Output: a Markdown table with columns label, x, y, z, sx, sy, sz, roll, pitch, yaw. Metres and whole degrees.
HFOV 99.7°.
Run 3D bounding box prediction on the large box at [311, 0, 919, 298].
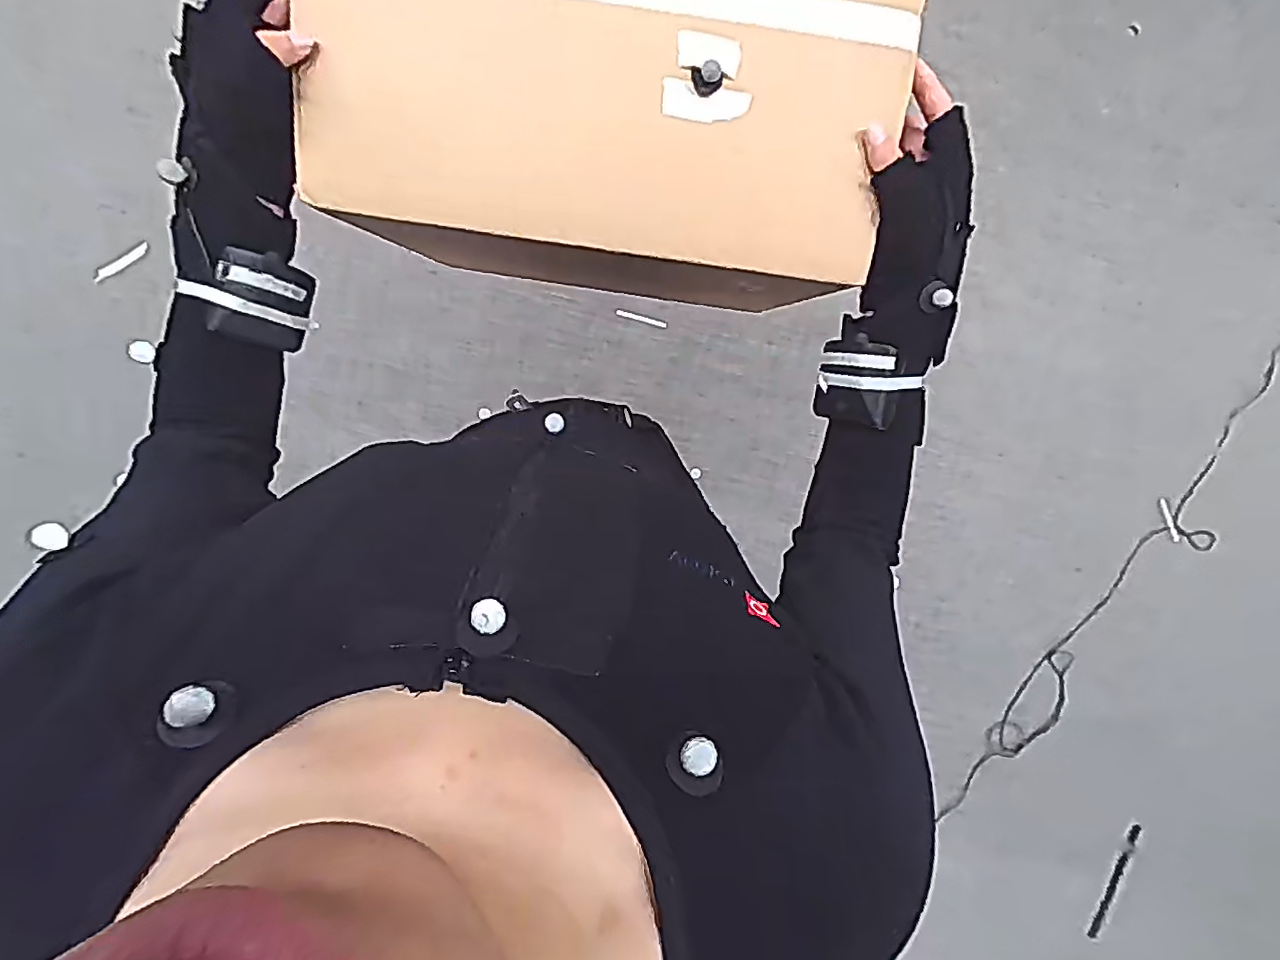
| label | x | y | z | sx | sy | sz | roll | pitch | yaw |
| --- | --- | --- | --- | --- | --- | --- | --- | --- | --- |
| large box | -0.019 | -0.360 | 0.497 | 0.408 | 0.320 | 0.320 | 6 | 105 | -4 |
